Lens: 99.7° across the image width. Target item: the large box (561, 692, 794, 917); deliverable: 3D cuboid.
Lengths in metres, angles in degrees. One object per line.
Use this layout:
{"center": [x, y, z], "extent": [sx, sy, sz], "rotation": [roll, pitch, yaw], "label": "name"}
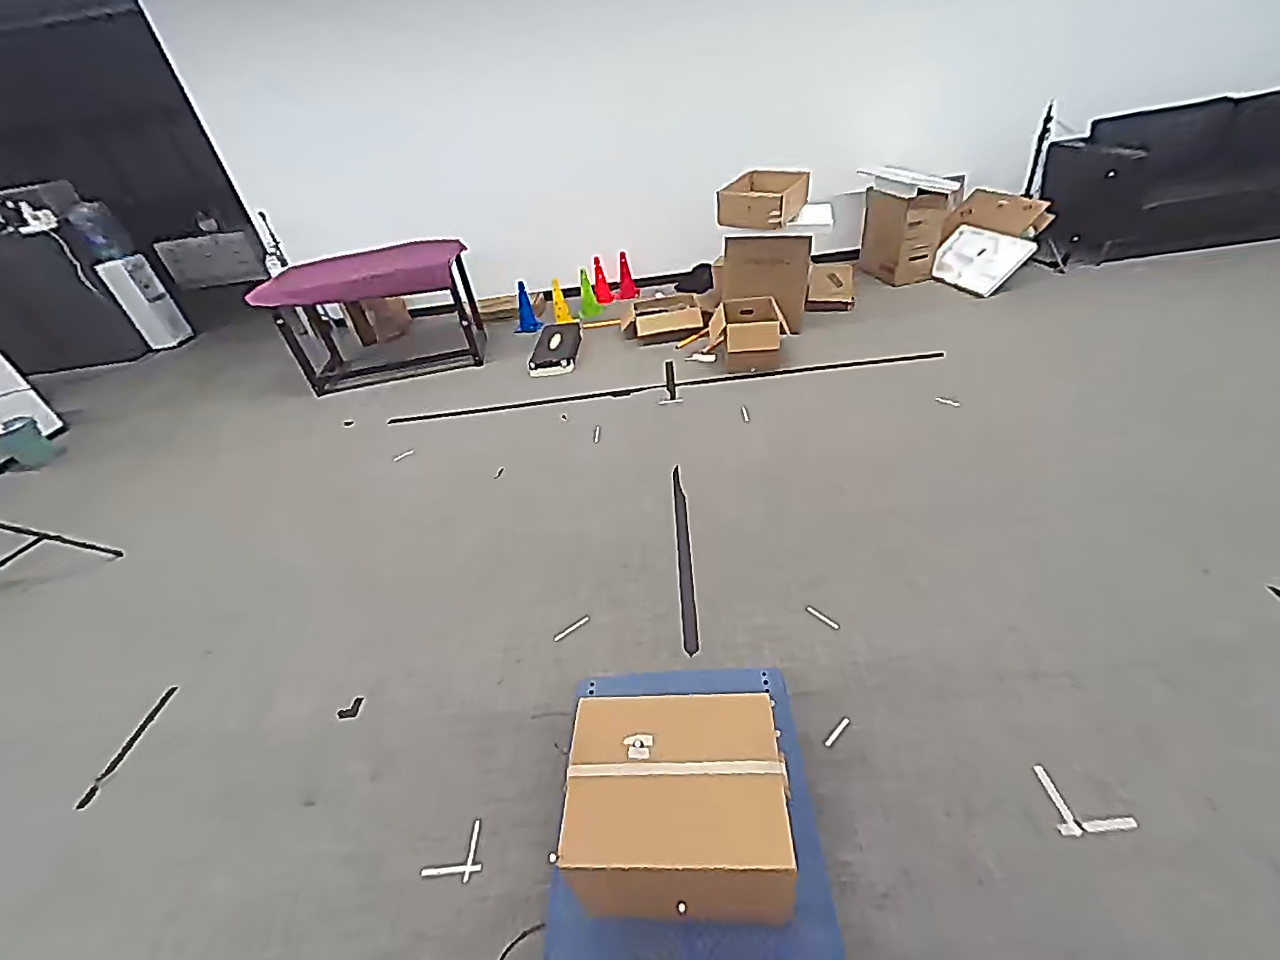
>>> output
{"center": [0.084, 0.674, 1.121], "extent": [0.408, 0.320, 0.320], "rotation": [-5, 36, 7], "label": "large box"}
